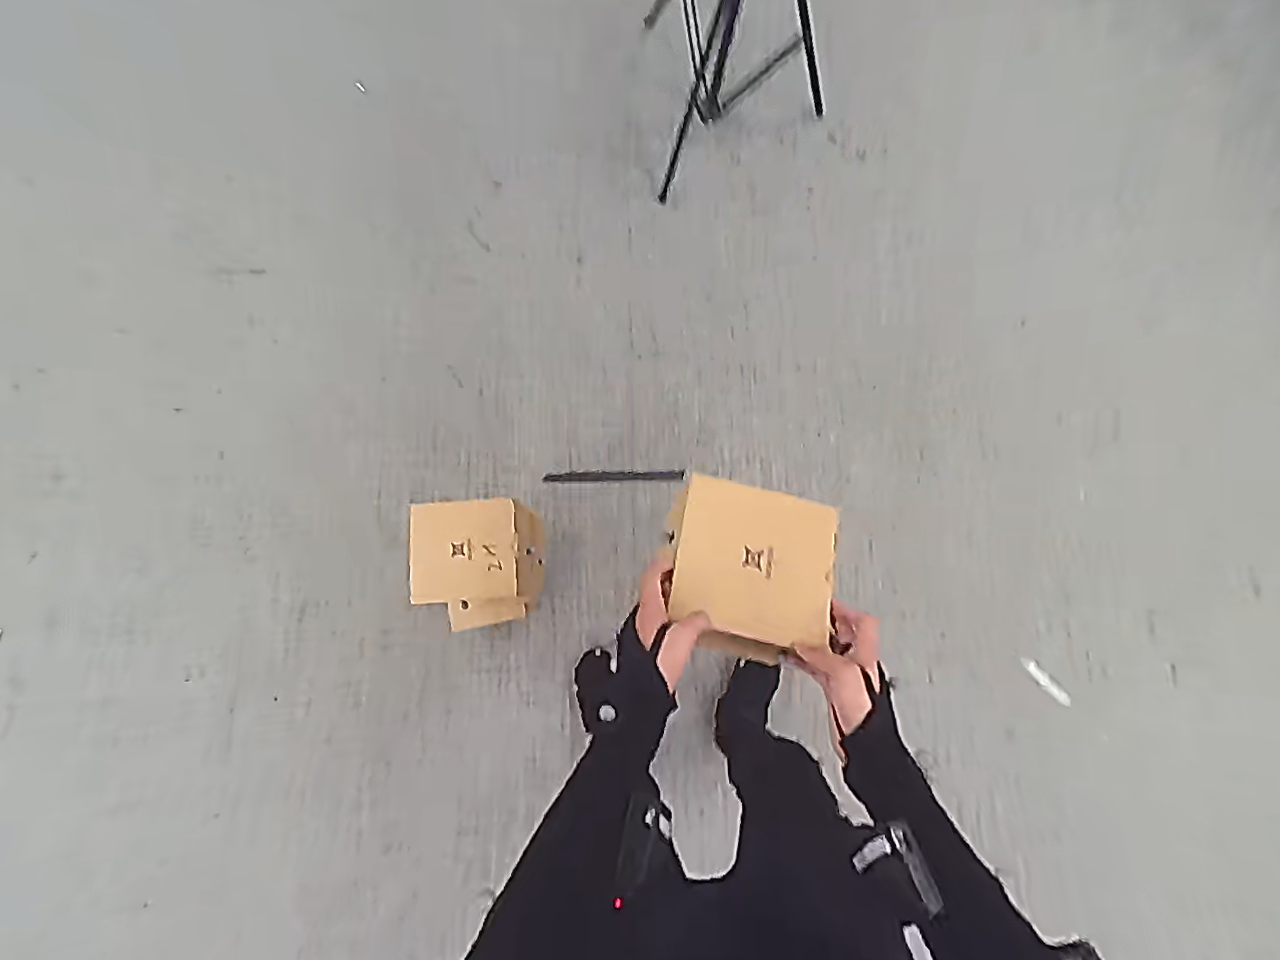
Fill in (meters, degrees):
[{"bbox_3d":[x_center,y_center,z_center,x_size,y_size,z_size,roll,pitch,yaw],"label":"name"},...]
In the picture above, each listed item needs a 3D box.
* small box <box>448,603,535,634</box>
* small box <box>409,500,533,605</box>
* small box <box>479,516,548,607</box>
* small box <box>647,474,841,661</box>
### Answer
[{"bbox_3d":[-0.349,0.253,1.270,0.168,0.176,0.179,-11,81,-5],"label":"small box"},{"bbox_3d":[-0.292,0.134,0.963,0.179,0.176,0.168,-3,79,-4],"label":"small box"},{"bbox_3d":[-0.287,0.166,1.124,0.168,0.176,0.179,4,80,-1],"label":"small box"},{"bbox_3d":[0.113,0.114,0.639,0.179,0.176,0.168,13,68,-4],"label":"small box"}]
